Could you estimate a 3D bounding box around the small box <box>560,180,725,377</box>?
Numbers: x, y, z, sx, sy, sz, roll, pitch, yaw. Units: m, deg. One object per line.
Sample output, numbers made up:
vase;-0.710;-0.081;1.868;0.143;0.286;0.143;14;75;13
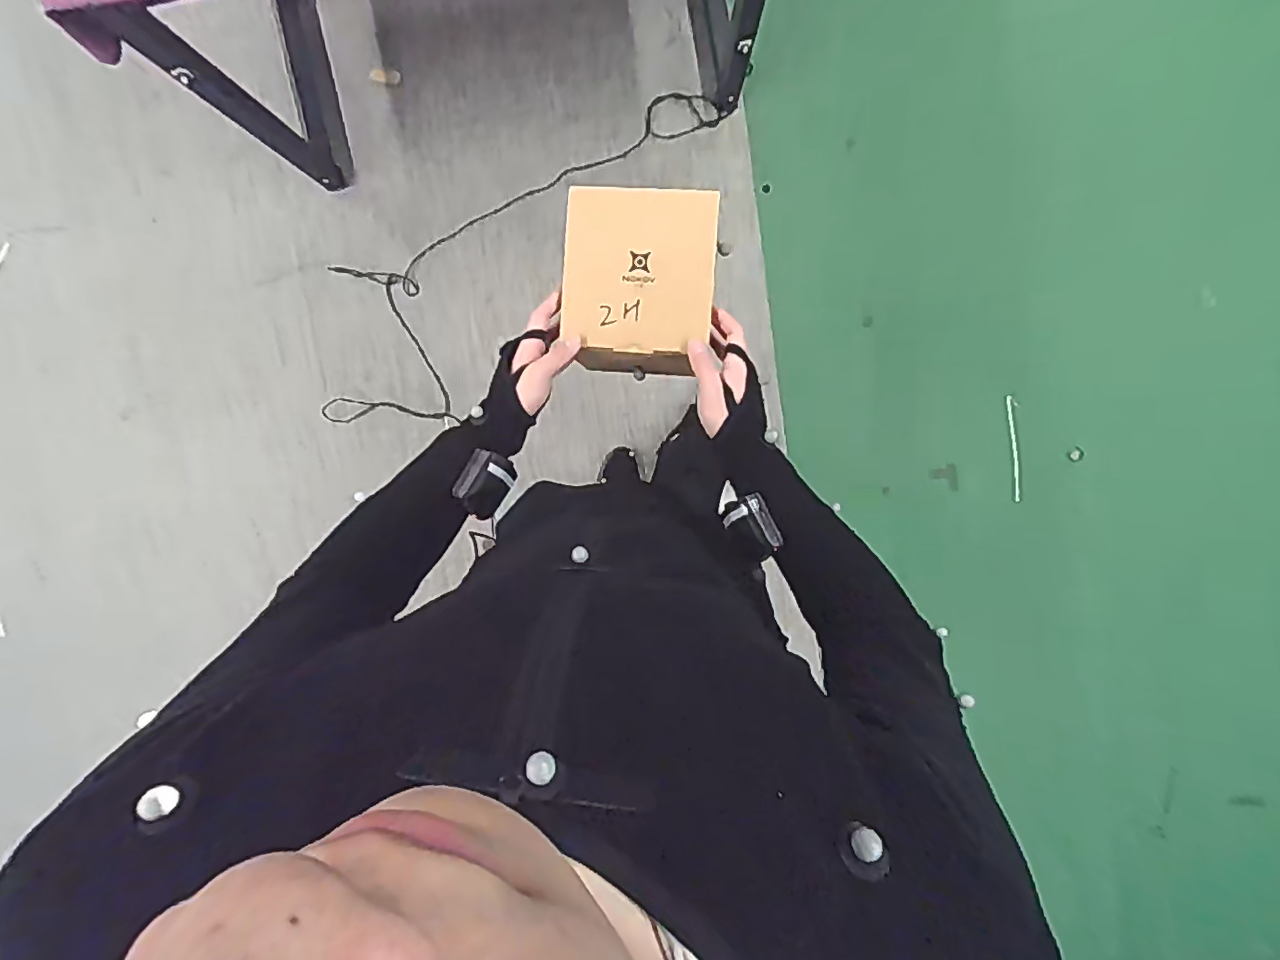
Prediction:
small box;0.007;-0.230;0.654;0.168;0.176;0.179;5;93;4
